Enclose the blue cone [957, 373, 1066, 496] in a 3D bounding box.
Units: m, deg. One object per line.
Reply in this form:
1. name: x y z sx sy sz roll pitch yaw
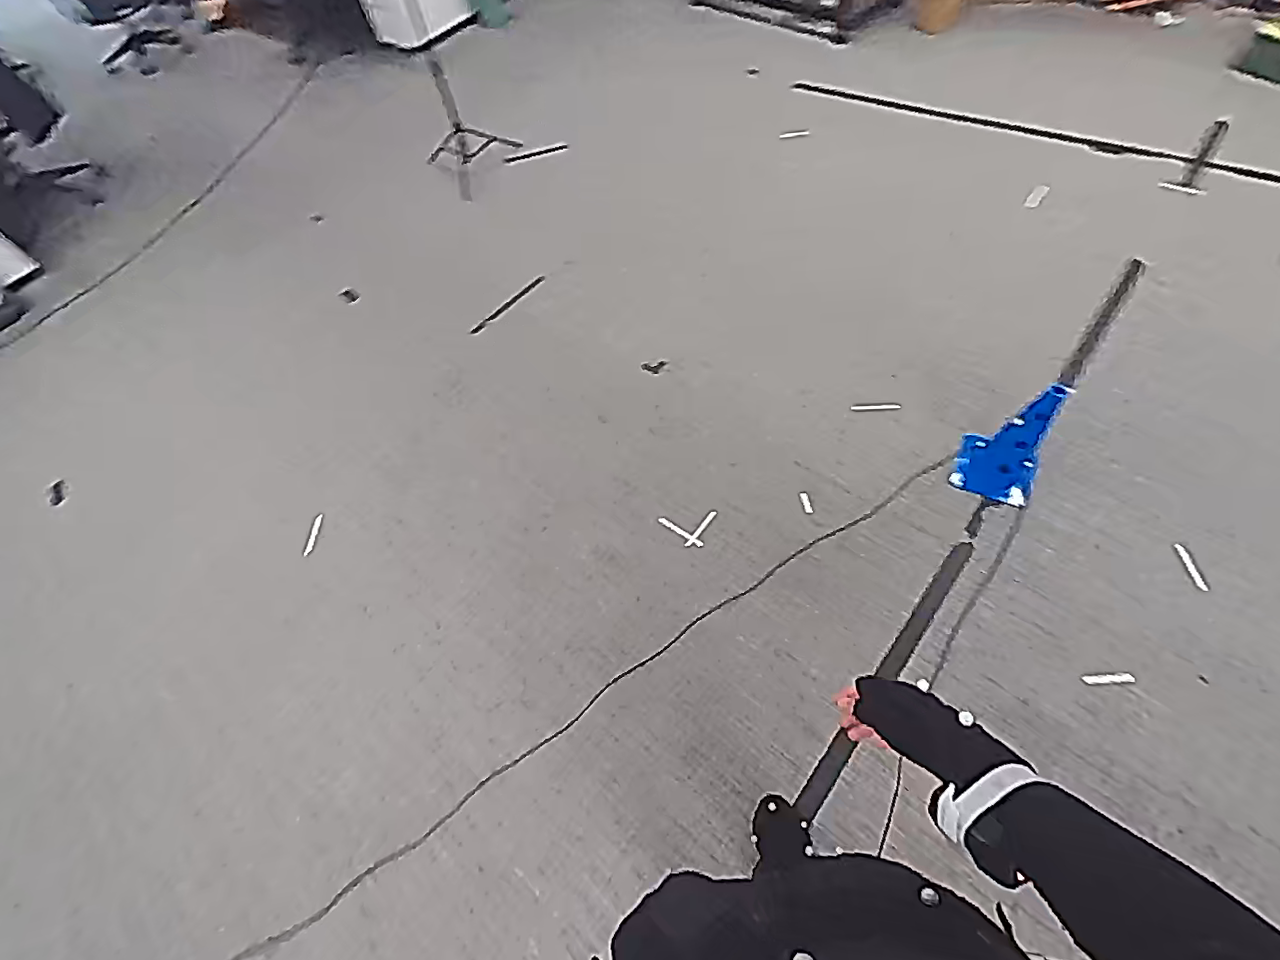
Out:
1. blue cone: 0.990 -0.131 1.400 0.193 0.380 0.192 19 64 20
